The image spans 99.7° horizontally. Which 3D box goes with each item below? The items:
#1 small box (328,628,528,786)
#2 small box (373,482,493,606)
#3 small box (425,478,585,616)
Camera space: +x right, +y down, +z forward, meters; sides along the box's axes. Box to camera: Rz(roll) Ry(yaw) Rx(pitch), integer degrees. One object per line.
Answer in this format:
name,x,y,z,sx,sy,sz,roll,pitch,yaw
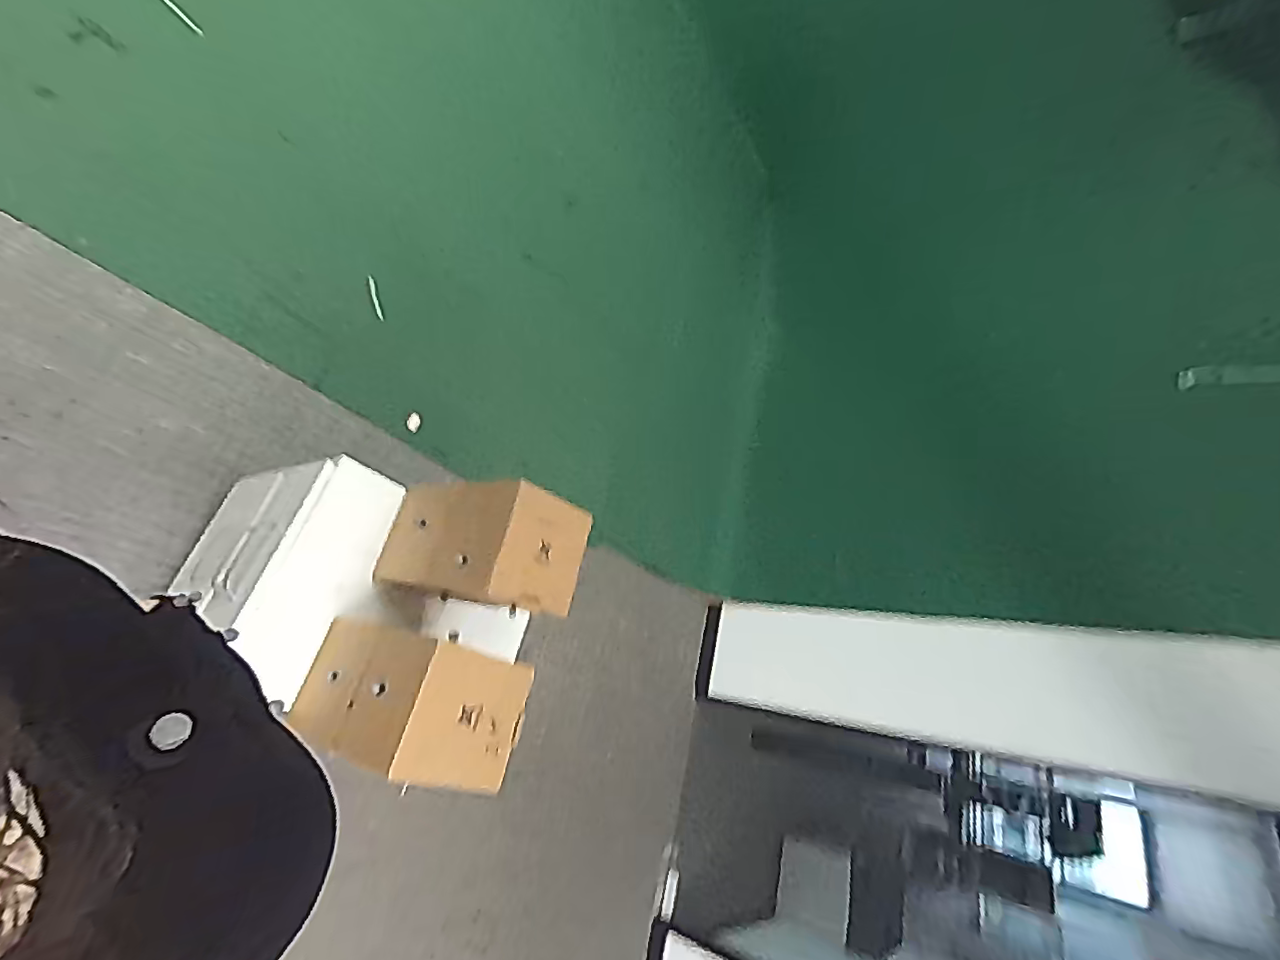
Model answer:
small box,-0.299,0.314,0.766,0.179,0.176,0.168,40,55,-43
small box,-0.353,0.117,0.987,0.168,0.176,0.179,35,61,-44
small box,-0.223,0.110,0.887,0.168,0.176,0.179,34,61,-46
